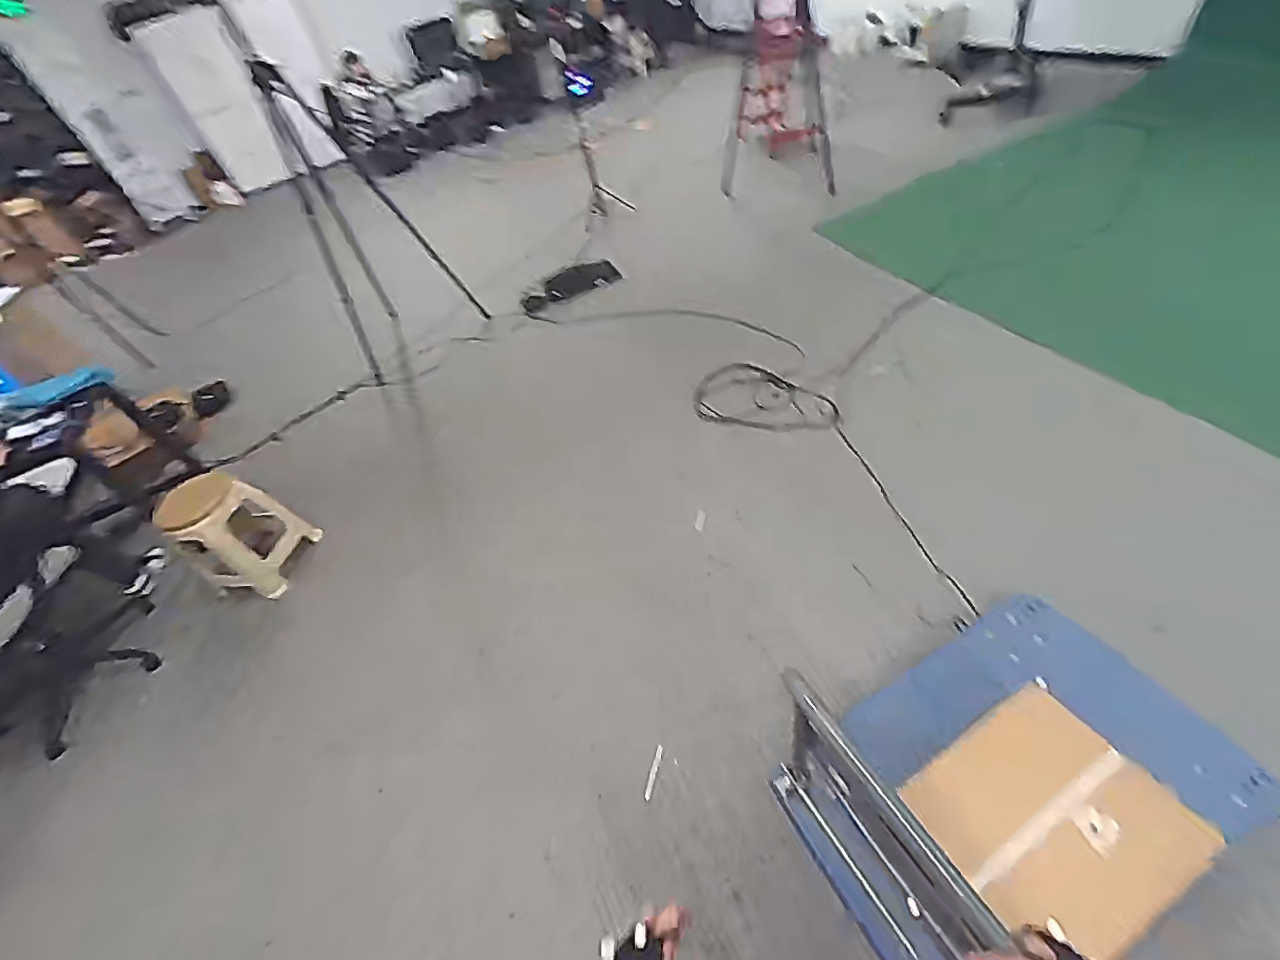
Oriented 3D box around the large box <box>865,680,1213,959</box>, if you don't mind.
[{"bbox_3d":[0.691,0.667,1.007,0.408,0.320,0.320,-30,48,-12],"label":"large box"}]
